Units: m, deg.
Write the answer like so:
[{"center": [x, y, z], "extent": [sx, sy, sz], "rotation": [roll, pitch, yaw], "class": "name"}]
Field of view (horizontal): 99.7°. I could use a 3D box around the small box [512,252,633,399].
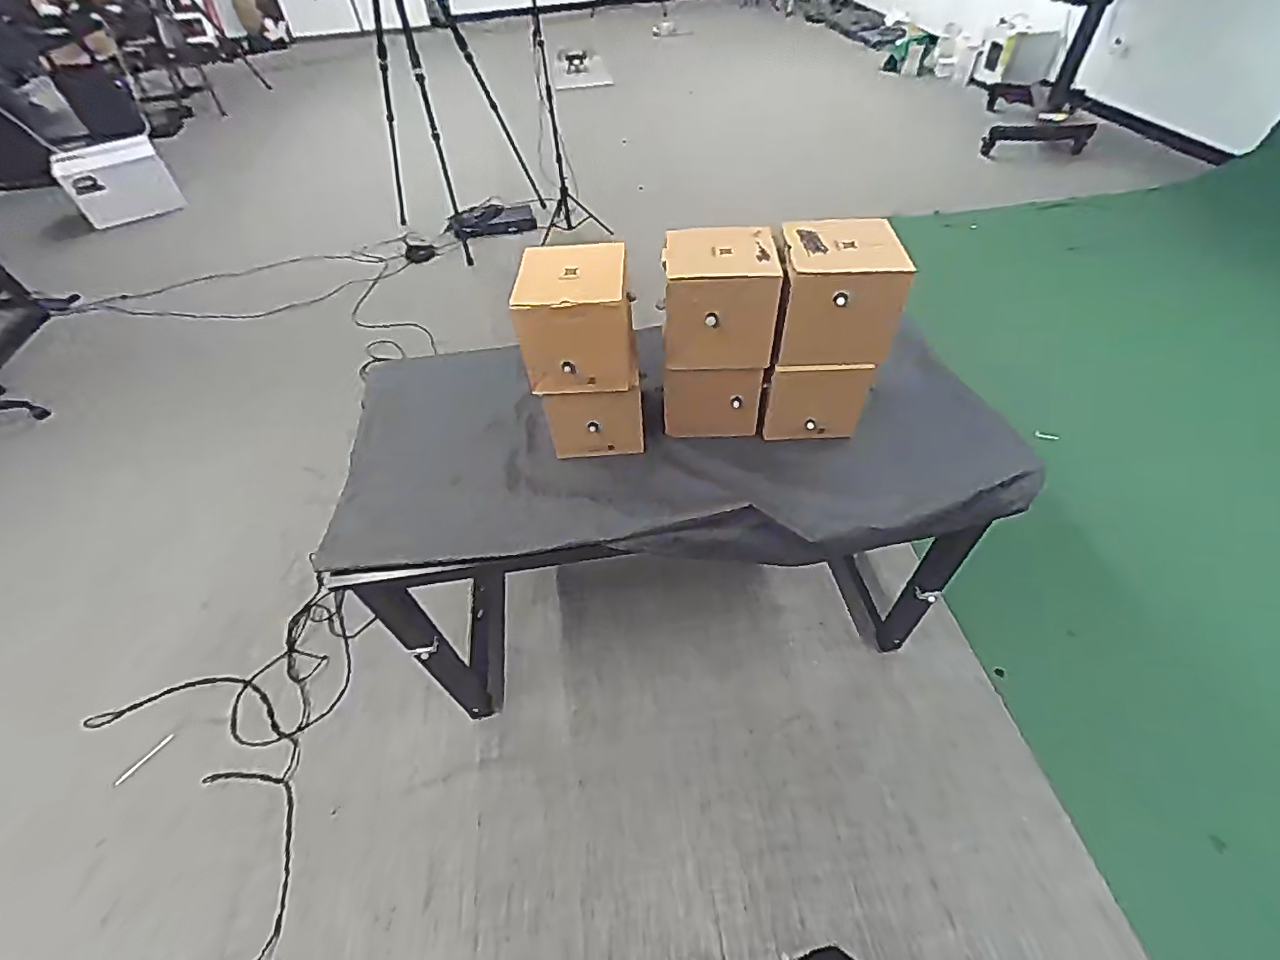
[{"center": [-0.101, -0.255, 0.898], "extent": [0.168, 0.176, 0.179], "rotation": [-2, 50, 3], "class": "small box"}]
